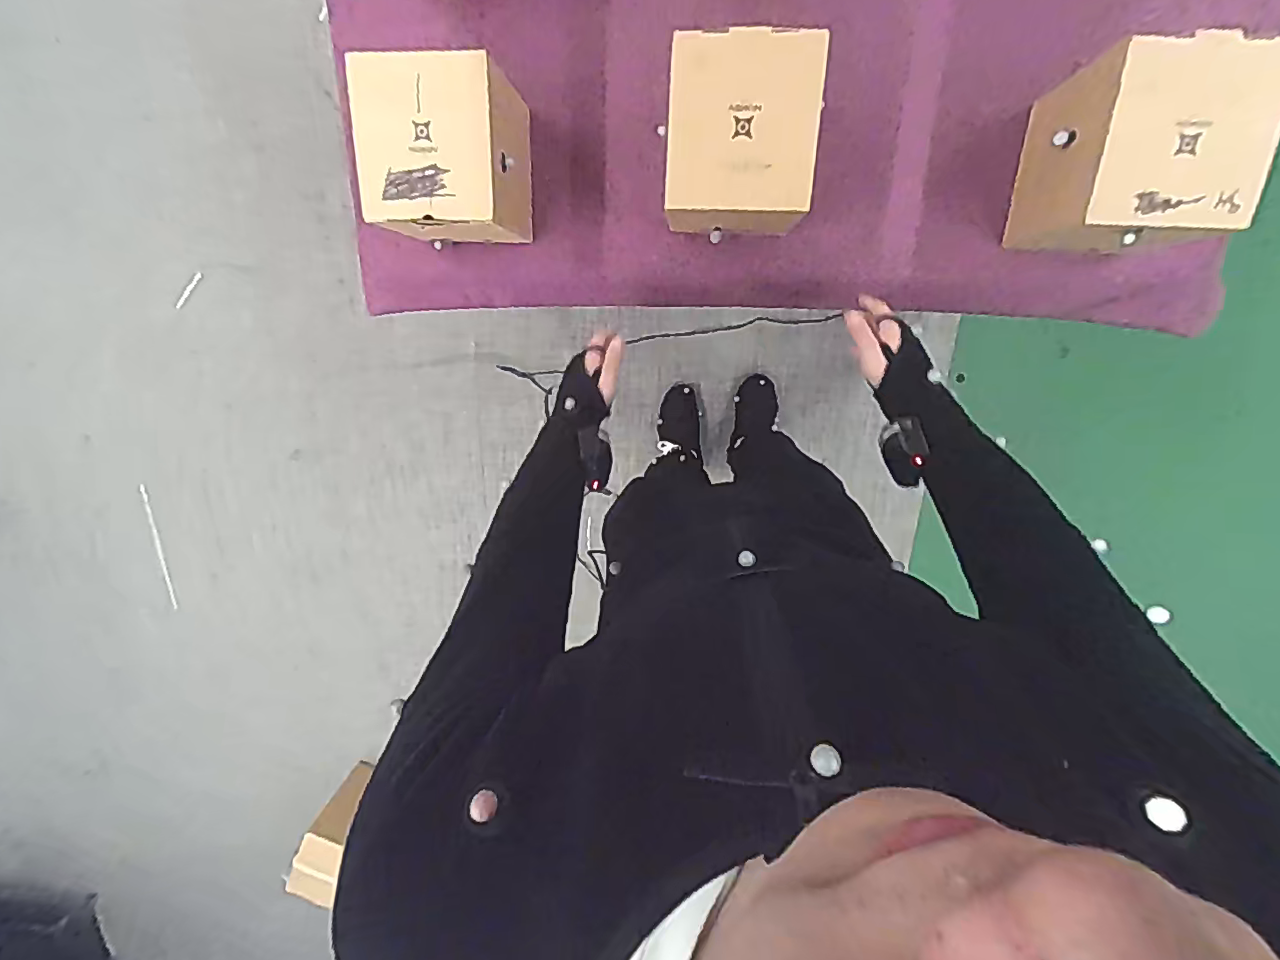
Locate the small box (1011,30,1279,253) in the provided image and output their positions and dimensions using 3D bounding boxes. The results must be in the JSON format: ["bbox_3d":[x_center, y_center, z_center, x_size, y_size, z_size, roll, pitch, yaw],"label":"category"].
[{"bbox_3d":[0.573,-0.376,0.629,0.168,0.176,0.179,5,104,5],"label":"small box"}]

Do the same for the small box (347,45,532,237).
[{"bbox_3d":[-0.240,-0.417,0.694,0.168,0.176,0.179,3,106,4],"label":"small box"}]

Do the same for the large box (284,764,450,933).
[{"bbox_3d":[-0.981,1.333,1.978,0.408,0.320,0.320,26,108,-3],"label":"large box"}]
